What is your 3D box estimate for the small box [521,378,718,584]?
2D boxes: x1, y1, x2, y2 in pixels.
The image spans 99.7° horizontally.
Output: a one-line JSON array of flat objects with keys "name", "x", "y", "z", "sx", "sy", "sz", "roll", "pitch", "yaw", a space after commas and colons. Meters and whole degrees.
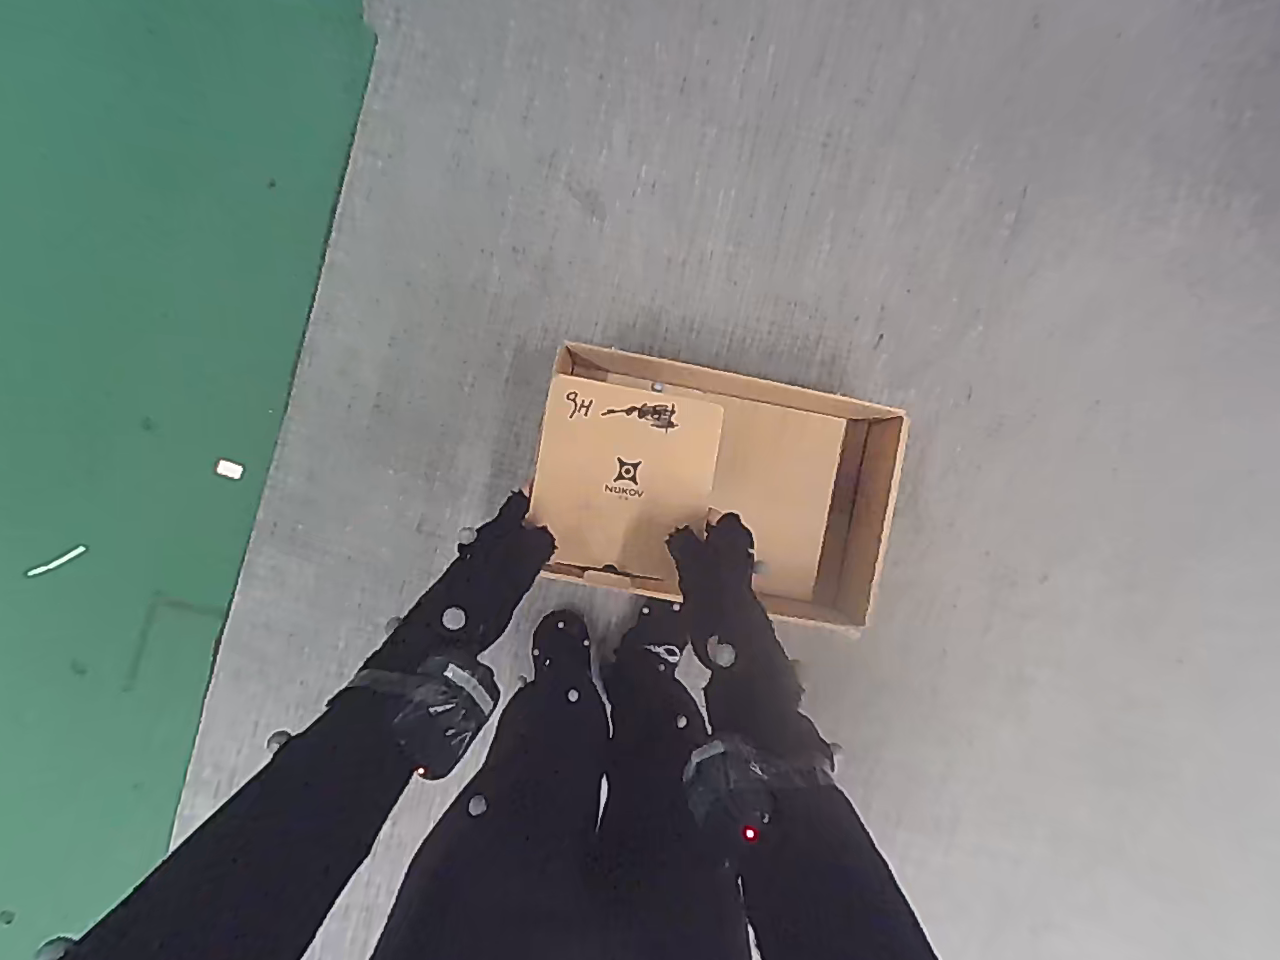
[{"name": "small box", "x": -0.024, "y": 0.001, "z": 0.593, "sx": 0.168, "sy": 0.176, "sz": 0.179, "roll": 9, "pitch": 89, "yaw": -5}]
